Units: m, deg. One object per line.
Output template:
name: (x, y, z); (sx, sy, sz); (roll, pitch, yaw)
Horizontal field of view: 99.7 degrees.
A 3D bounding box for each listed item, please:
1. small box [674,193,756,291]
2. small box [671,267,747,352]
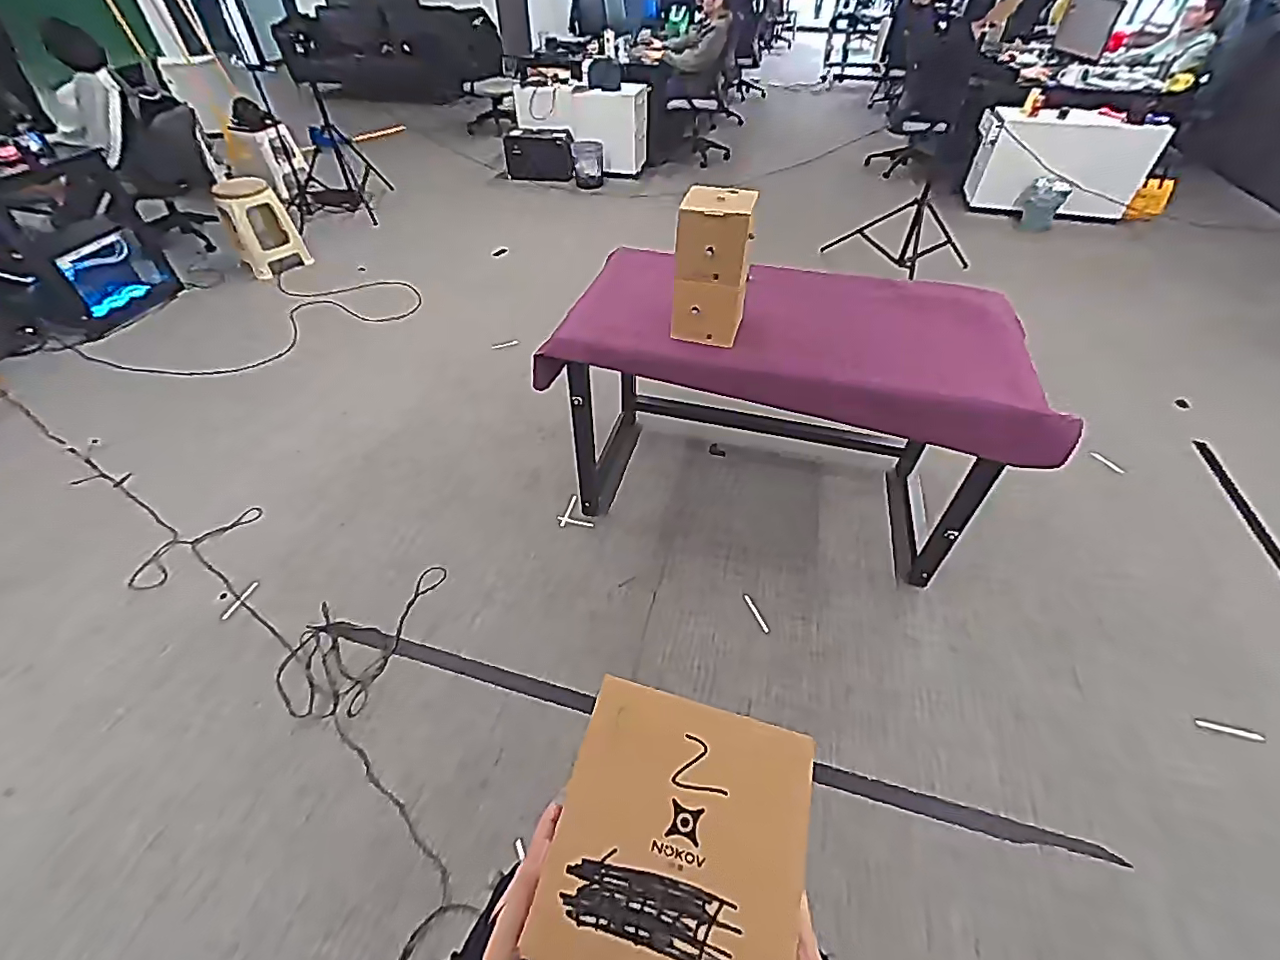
small box: (0.181, -0.581, 1.324); (0.168, 0.176, 0.179); (11, 46, 10)
small box: (0.181, -0.461, 1.436); (0.168, 0.176, 0.179); (12, 45, 11)
